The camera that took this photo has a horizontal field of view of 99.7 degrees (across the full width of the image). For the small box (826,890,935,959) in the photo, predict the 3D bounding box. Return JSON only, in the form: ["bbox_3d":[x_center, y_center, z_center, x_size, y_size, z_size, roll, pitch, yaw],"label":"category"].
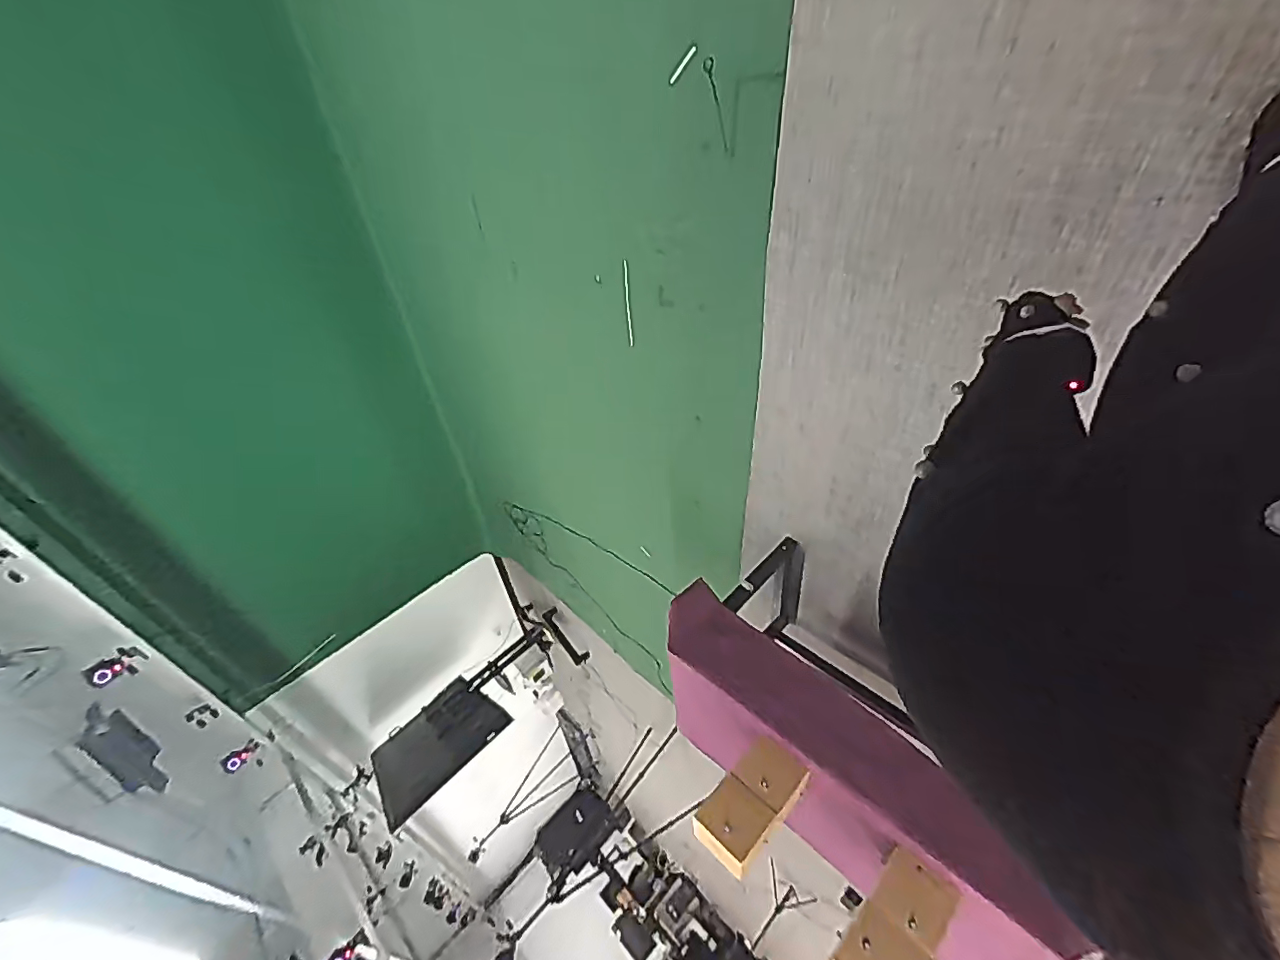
[{"bbox_3d":[0.598,1.172,1.354,0.179,0.176,0.168,32,145,33],"label":"small box"}]

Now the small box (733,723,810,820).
[{"bbox_3d":[0.406,0.900,1.679,0.179,0.176,0.168,31,144,35],"label":"small box"}]

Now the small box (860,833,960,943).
[{"bbox_3d":[0.714,1.087,1.432,0.168,0.176,0.179,31,145,34],"label":"small box"}]

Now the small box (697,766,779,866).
[{"bbox_3d":[0.289,0.984,1.602,0.179,0.176,0.168,29,143,35],"label":"small box"}]
